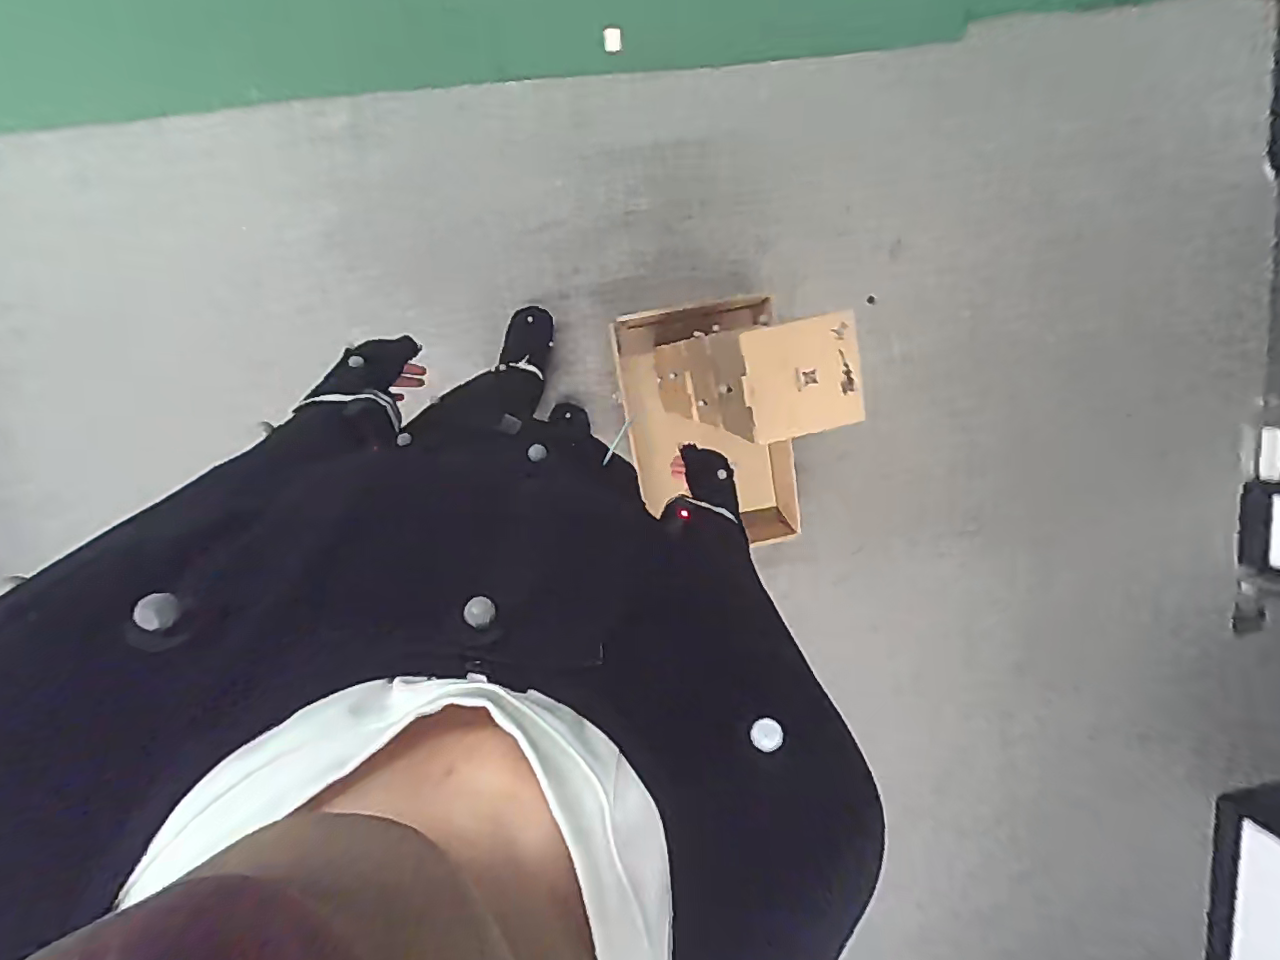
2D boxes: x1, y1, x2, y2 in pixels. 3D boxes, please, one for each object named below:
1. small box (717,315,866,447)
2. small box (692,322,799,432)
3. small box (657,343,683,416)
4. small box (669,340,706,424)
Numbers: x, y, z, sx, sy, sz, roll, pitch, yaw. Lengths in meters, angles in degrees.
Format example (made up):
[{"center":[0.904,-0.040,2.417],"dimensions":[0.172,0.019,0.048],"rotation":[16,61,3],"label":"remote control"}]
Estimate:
[{"center":[0.229,-0.158,0.855],"dimensions":[0.179,0.176,0.168],"rotation":[-12,105,-5],"label":"small box"},{"center":[0.202,-0.193,1.013],"dimensions":[0.179,0.176,0.168],"rotation":[-12,104,-6],"label":"small box"},{"center":[0.149,-0.256,1.329],"dimensions":[0.179,0.176,0.168],"rotation":[-9,103,-6],"label":"small box"},{"center":[0.173,-0.224,1.171],"dimensions":[0.179,0.176,0.168],"rotation":[-11,103,-6],"label":"small box"}]
